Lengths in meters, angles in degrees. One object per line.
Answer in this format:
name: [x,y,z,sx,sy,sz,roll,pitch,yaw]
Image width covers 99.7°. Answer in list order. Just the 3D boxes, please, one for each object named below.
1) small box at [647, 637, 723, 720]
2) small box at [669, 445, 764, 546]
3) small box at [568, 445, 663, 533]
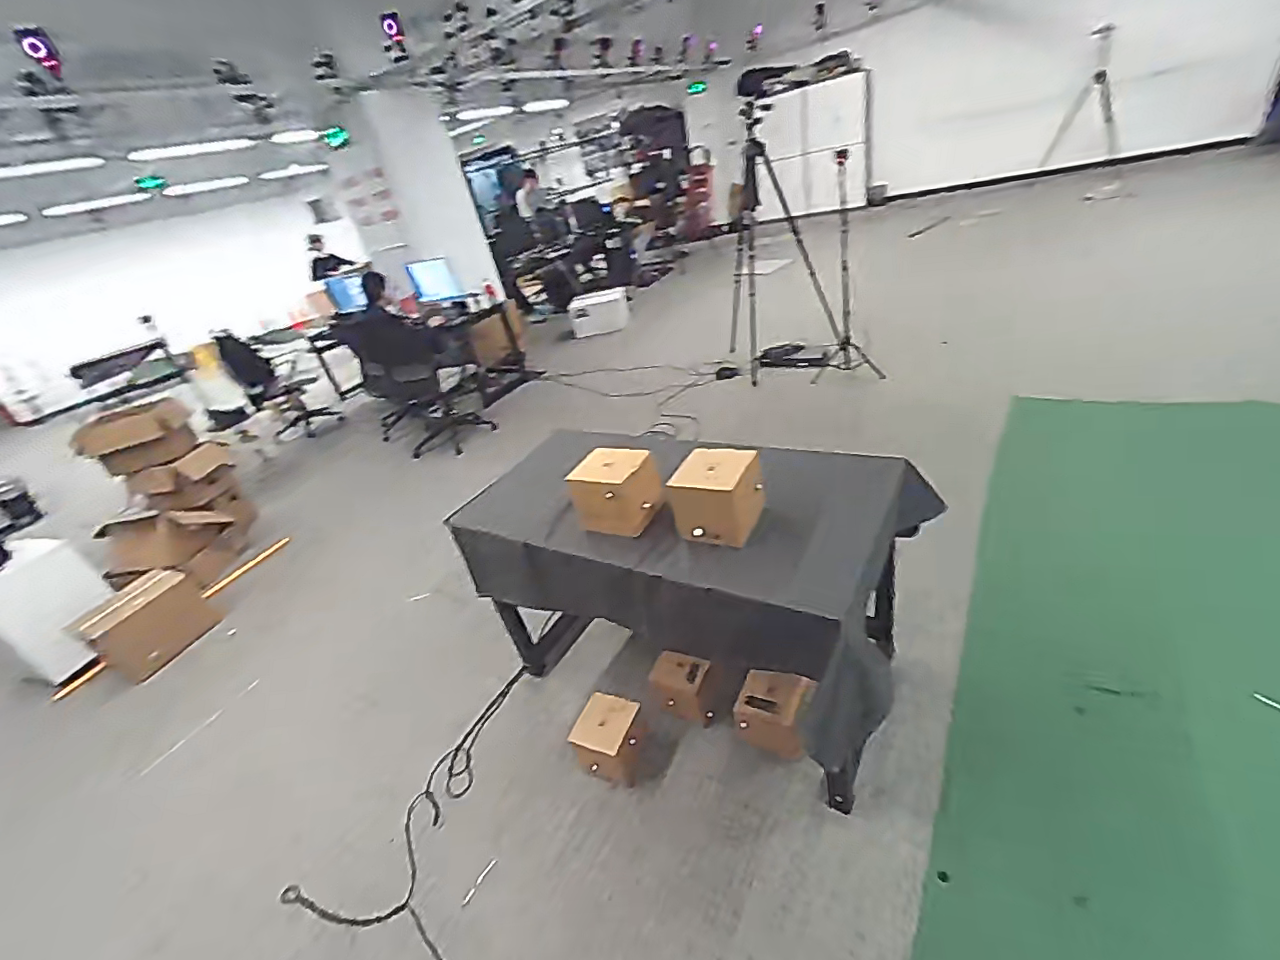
small box: [0.153,0.645,1.750,0.179,0.176,0.168,6,36,33]
small box: [0.193,0.034,1.308,0.168,0.176,0.179,6,36,32]
small box: [-0.059,0.022,1.437,0.179,0.176,0.168,5,36,30]
